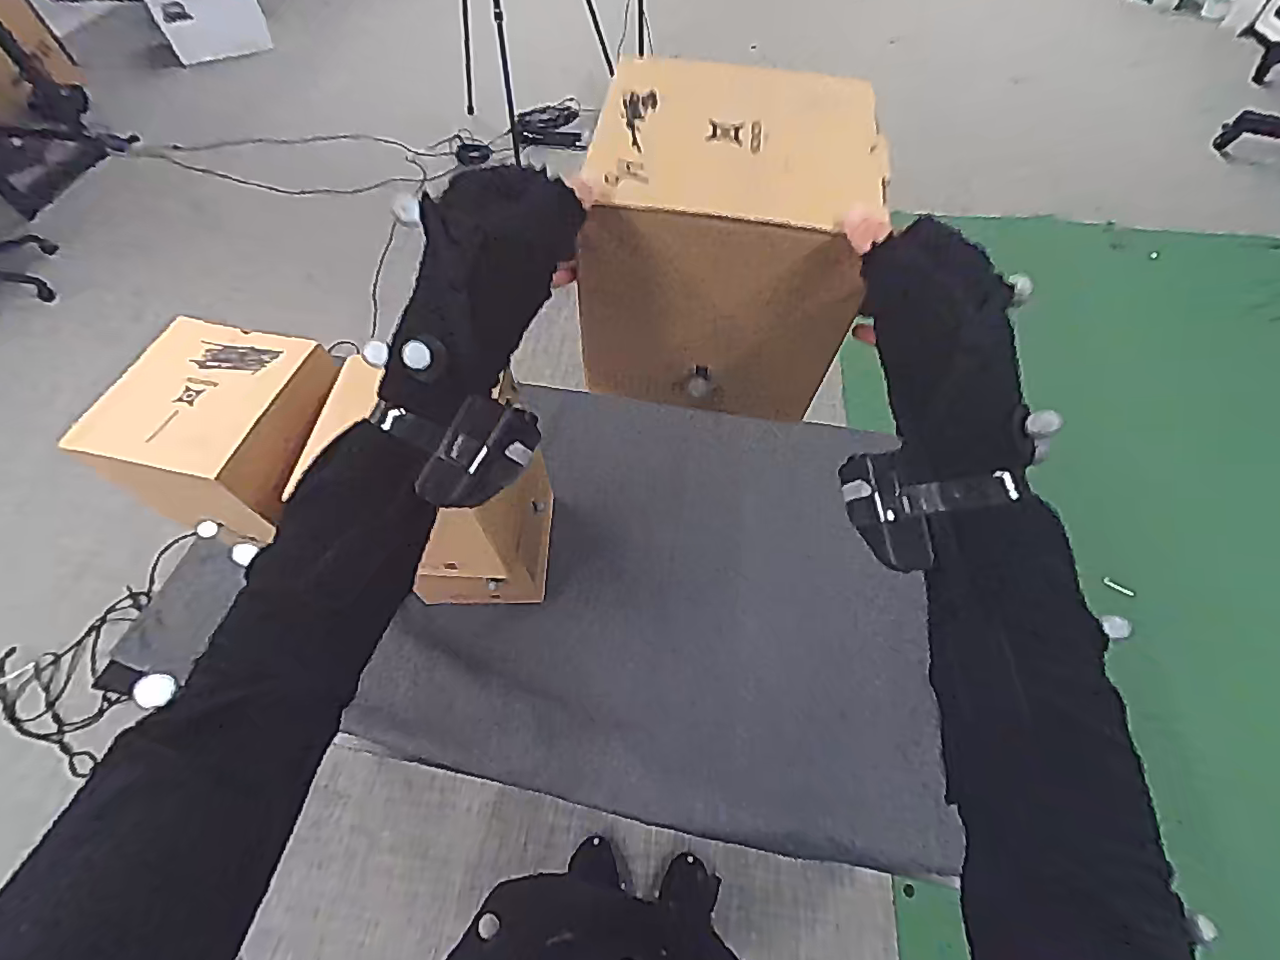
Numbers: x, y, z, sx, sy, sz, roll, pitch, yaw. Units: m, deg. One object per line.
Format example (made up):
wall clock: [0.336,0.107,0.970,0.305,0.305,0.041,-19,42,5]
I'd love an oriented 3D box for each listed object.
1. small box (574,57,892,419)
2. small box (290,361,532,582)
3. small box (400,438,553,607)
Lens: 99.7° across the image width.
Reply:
small box: [0.057,-0.164,0.397,0.179,0.176,0.168,9,60,2]
small box: [-0.217,-0.002,0.573,0.168,0.176,0.179,3,57,1]
small box: [-0.214,0.062,0.724,0.168,0.176,0.179,0,56,0]
